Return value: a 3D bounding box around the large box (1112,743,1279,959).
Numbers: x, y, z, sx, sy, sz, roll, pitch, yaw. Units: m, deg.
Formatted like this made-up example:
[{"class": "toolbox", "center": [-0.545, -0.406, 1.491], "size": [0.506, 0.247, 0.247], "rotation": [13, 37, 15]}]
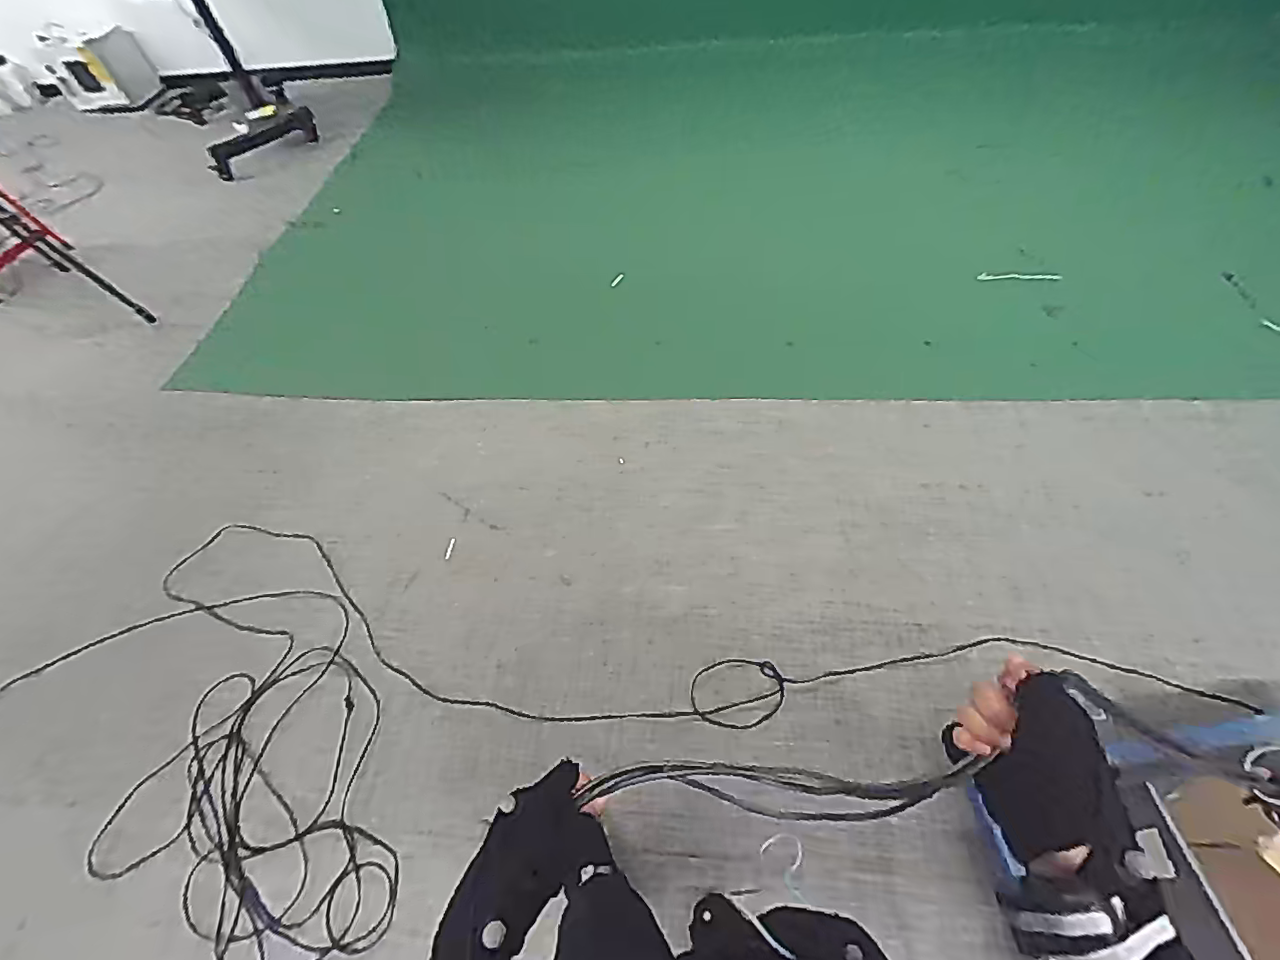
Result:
[{"class": "large box", "center": [1.086, 0.669, 0.814], "size": [0.320, 0.320, 0.408], "rotation": [-28, 57, -14]}]
